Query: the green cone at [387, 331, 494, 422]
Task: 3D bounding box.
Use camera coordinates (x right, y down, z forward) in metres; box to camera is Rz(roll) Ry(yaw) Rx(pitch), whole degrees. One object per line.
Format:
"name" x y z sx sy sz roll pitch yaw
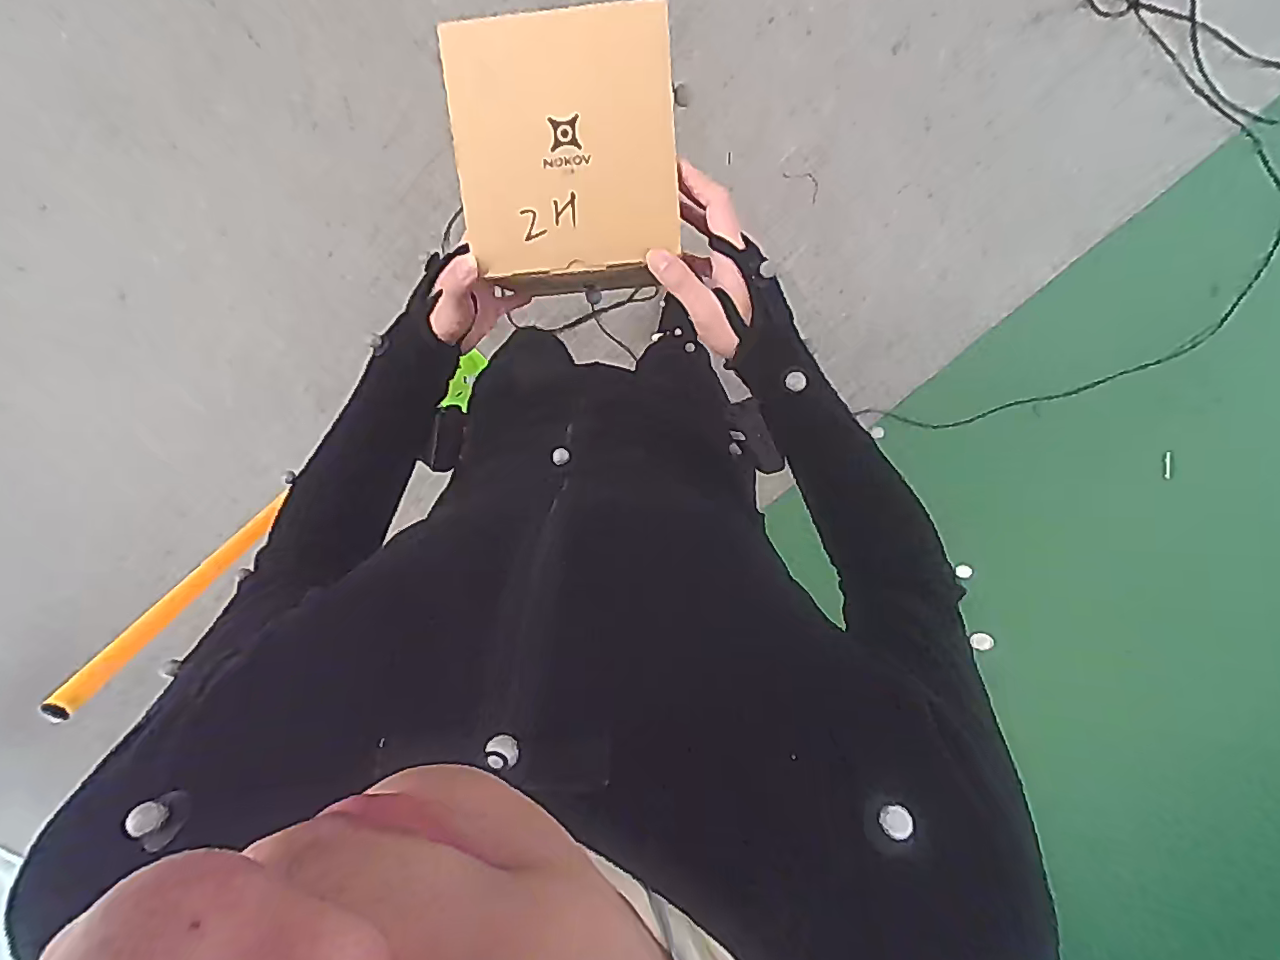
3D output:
"green cone" -0.548 -0.234 1.384 0.202 0.368 0.200 -41 104 14
